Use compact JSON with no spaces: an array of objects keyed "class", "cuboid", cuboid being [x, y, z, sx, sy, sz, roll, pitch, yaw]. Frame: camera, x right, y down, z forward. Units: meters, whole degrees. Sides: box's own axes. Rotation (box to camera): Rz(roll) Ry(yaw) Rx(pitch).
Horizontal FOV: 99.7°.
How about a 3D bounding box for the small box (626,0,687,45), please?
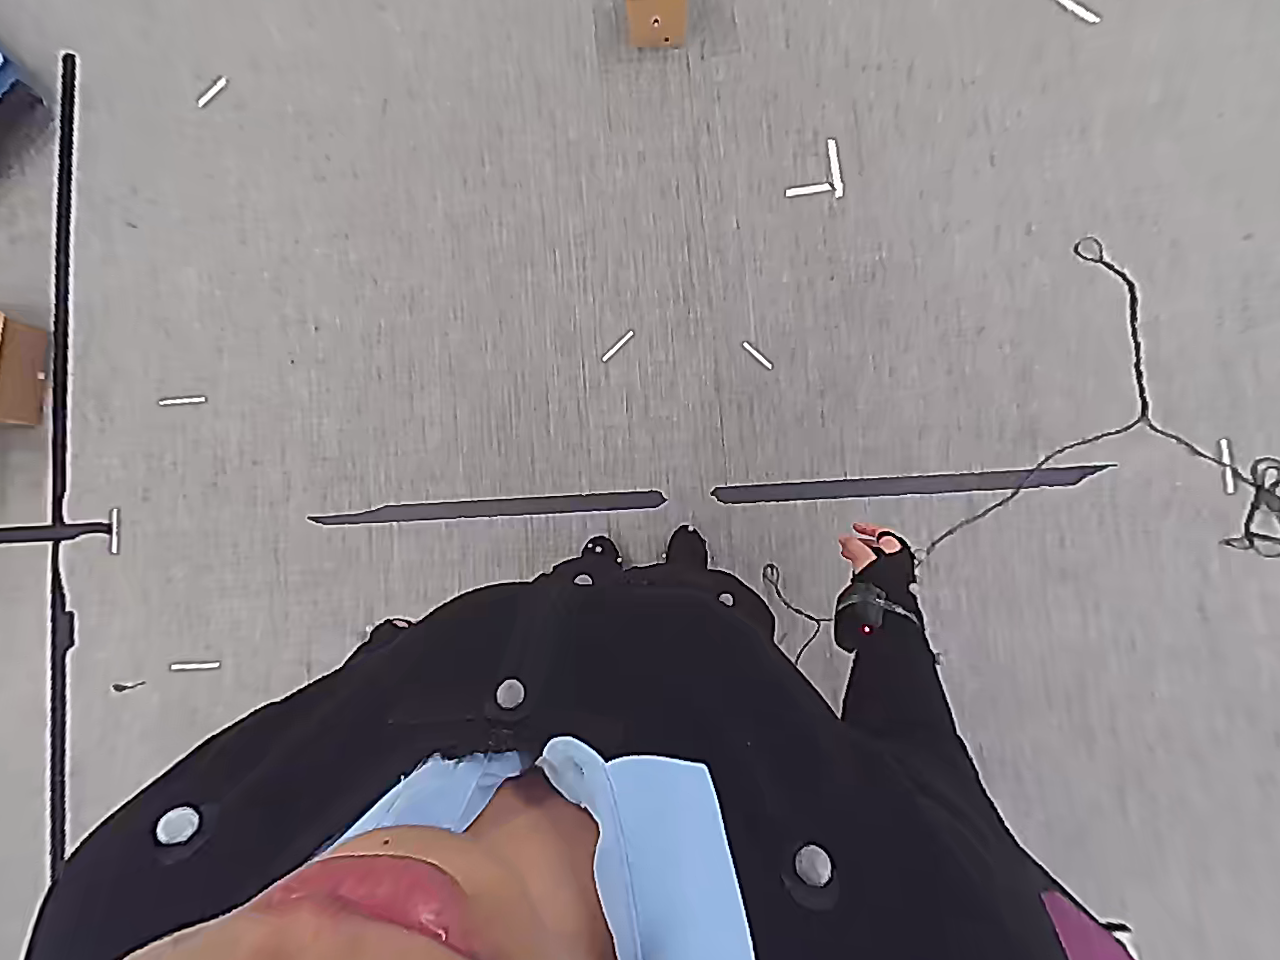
[{"class":"small box","cuboid":[0.050,-1.385,1.541,0.168,0.176,0.179,0,85,4]}]
